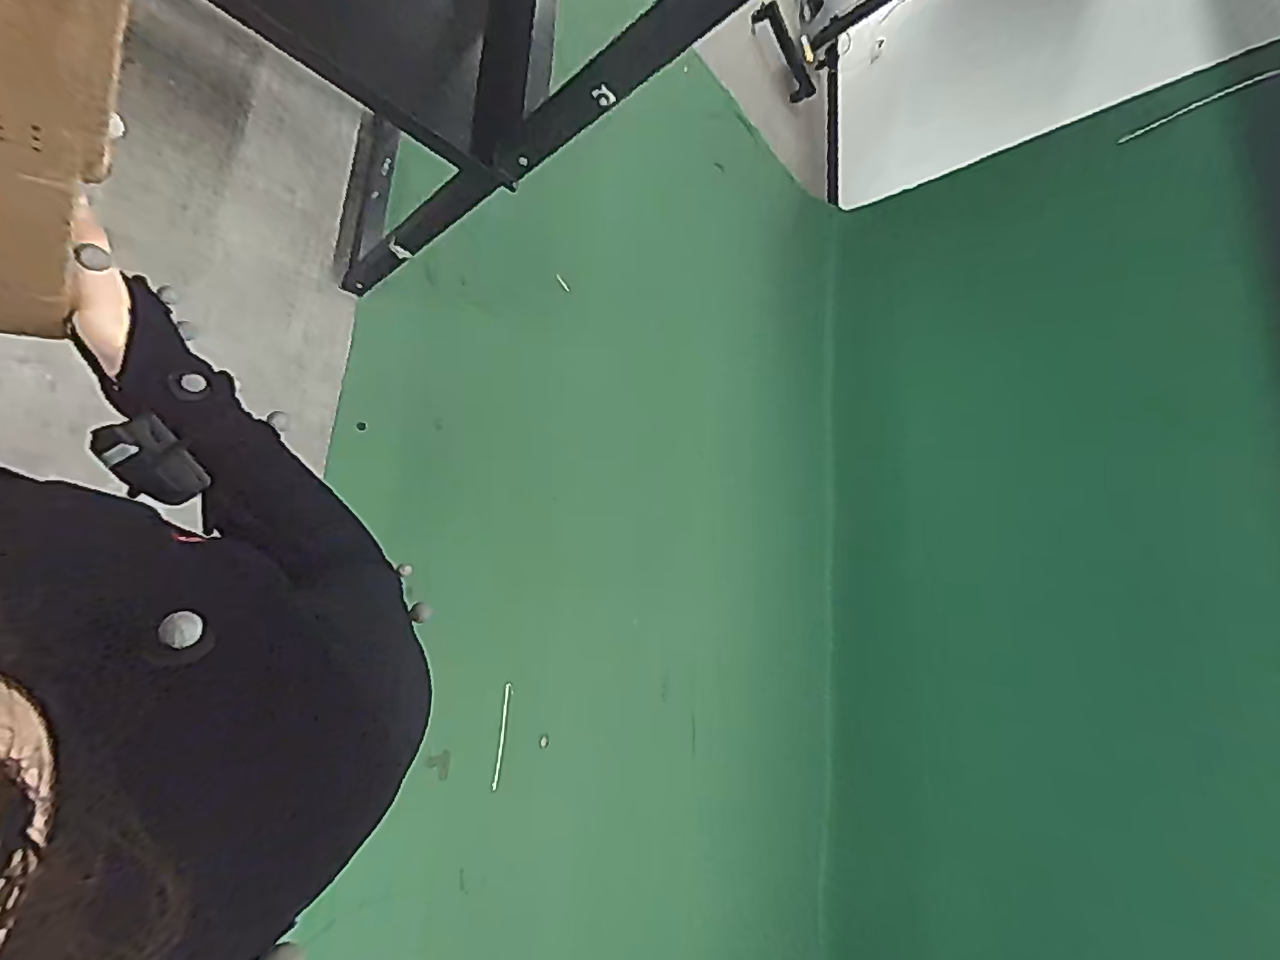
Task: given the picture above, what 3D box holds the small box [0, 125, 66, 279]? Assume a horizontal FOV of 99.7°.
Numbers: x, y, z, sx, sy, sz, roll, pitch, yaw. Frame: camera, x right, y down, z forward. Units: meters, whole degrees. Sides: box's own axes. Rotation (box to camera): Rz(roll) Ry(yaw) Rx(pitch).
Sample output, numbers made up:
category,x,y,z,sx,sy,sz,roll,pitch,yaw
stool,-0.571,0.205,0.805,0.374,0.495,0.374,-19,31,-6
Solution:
category,x,y,z,sx,sy,sz,roll,pitch,yaw
small box,-0.296,-0.176,0.158,0.179,0.176,0.168,0,90,-48
